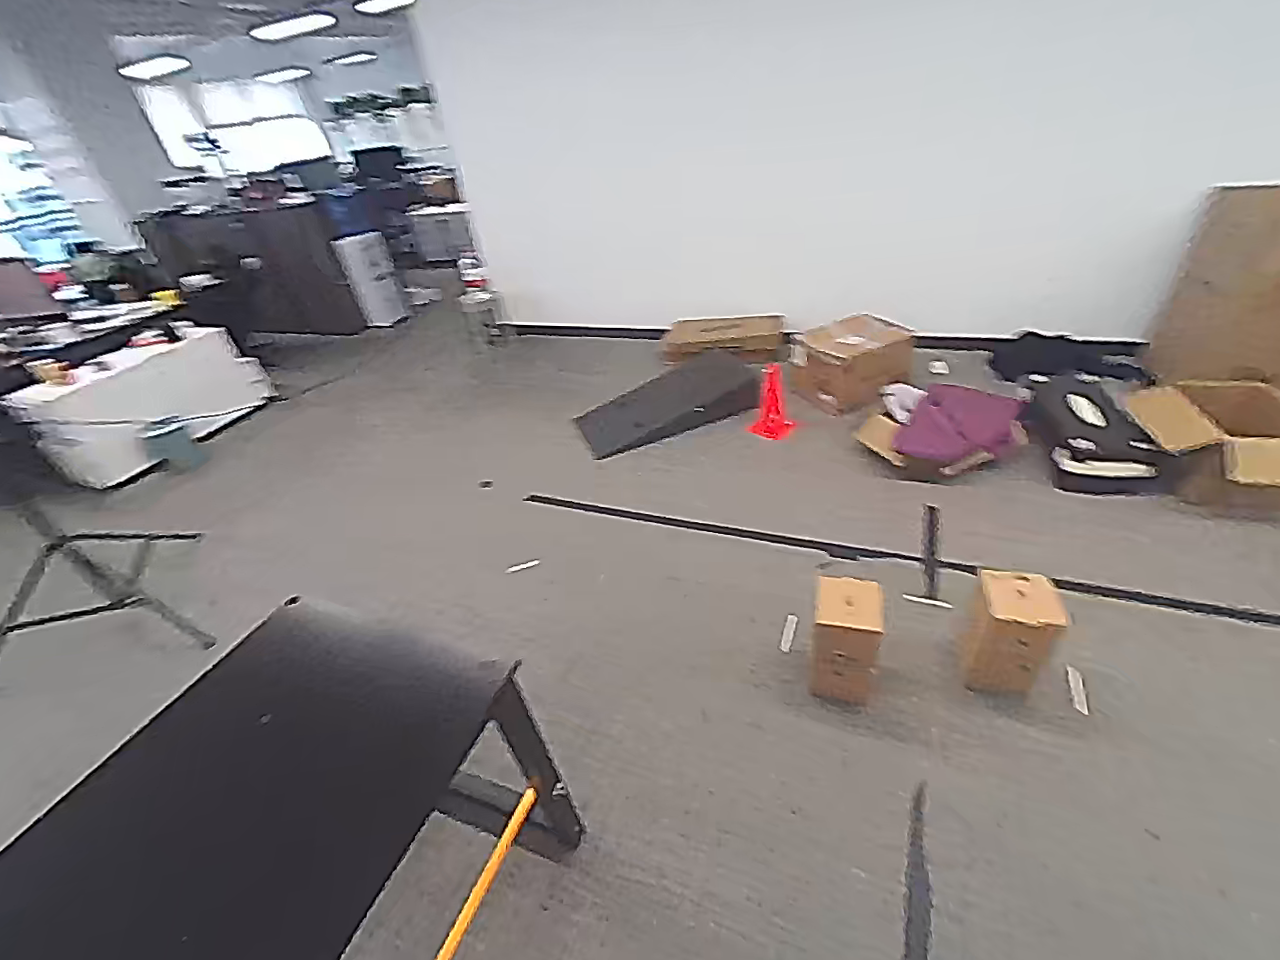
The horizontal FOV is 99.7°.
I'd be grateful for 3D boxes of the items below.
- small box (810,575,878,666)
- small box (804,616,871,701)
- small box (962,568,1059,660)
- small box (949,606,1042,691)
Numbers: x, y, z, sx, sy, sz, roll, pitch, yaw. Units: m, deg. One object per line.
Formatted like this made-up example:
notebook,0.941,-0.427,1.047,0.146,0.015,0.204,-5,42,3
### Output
small box,0.576,0.397,1.535,0.168,0.176,0.179,3,39,18
small box,0.593,0.534,1.623,0.179,0.176,0.168,6,39,20
small box,1.006,0.368,1.483,0.168,0.176,0.179,3,39,16
small box,1.032,0.493,1.585,0.179,0.176,0.168,4,38,17
